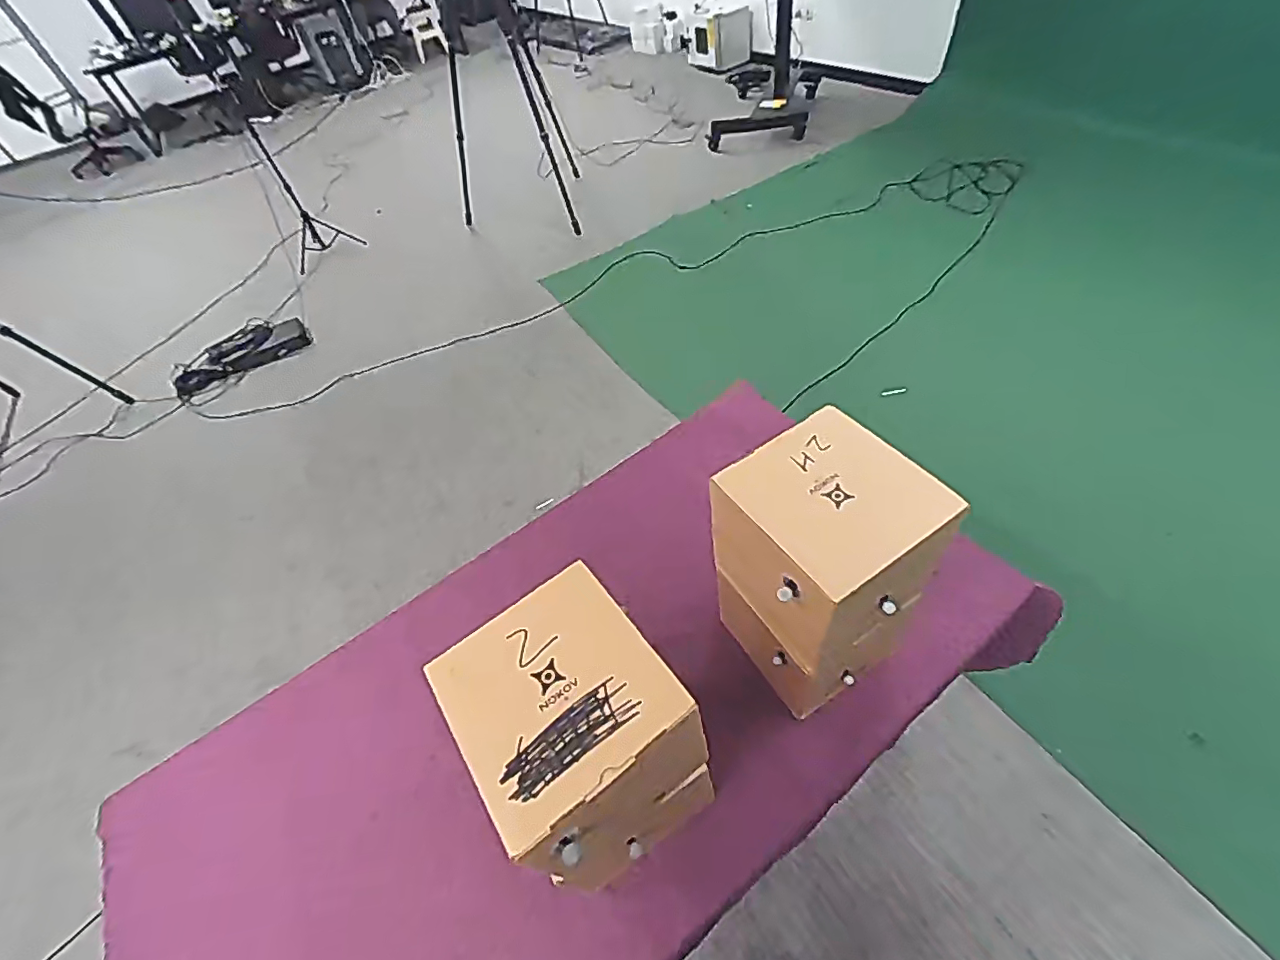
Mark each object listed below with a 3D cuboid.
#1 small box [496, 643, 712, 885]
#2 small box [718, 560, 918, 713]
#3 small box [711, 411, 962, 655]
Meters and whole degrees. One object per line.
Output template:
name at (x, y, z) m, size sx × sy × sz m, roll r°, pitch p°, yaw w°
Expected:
small box at (-0.033, 0.330, 0.625) m, size 0.179 × 0.176 × 0.168 m, roll -31°, pitch 51°, yaw -14°
small box at (0.219, 0.169, 0.711) m, size 0.168 × 0.176 × 0.179 m, roll -30°, pitch 52°, yaw -13°
small box at (0.196, 0.064, 0.586) m, size 0.168 × 0.176 × 0.179 m, roll -30°, pitch 52°, yaw -15°
